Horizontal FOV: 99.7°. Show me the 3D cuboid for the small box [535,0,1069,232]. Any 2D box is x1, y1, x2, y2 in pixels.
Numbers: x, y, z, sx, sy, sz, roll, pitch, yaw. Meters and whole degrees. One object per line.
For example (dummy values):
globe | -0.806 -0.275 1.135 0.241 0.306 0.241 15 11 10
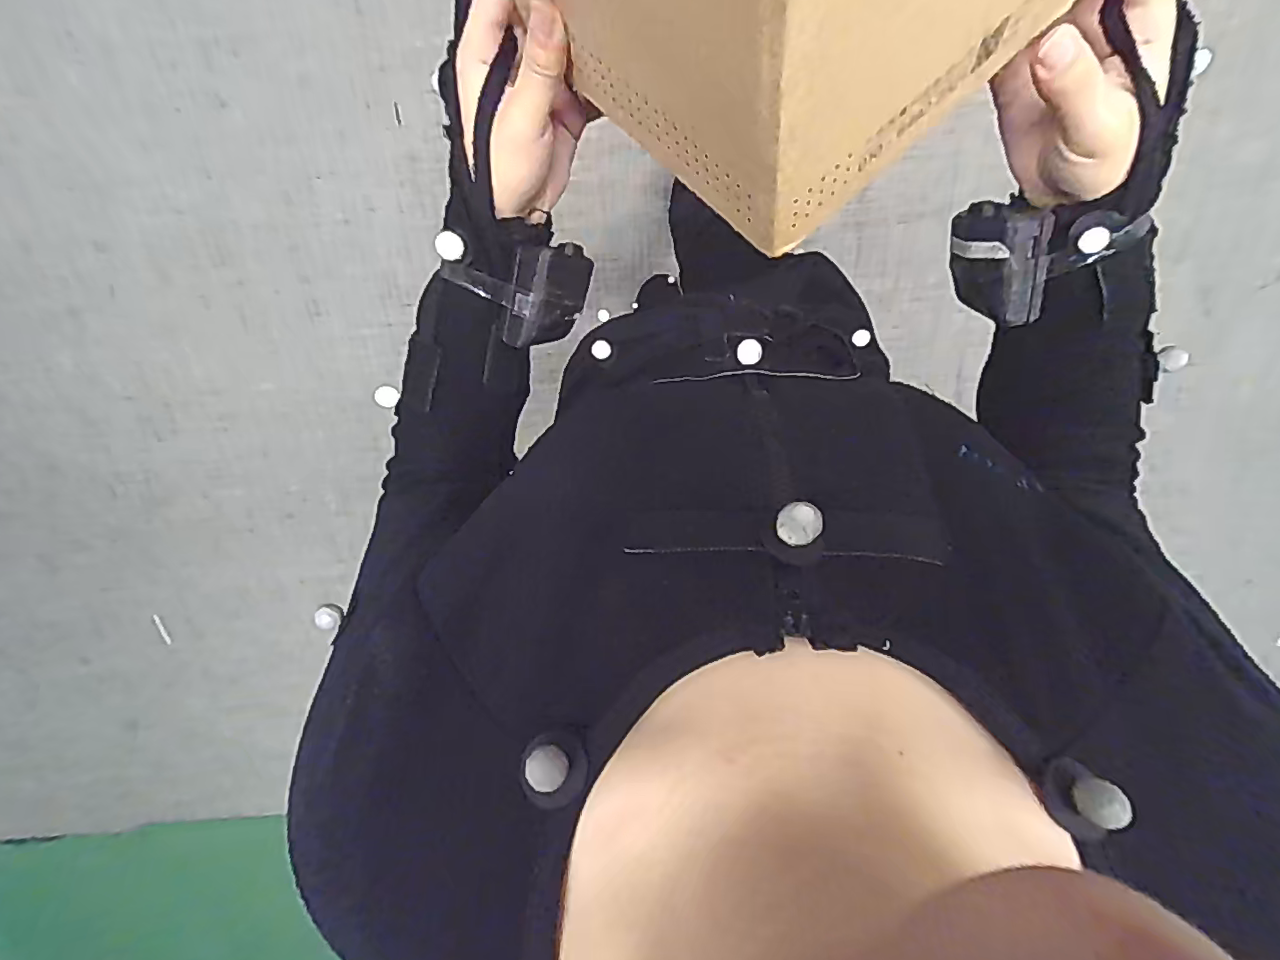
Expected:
small box | 0.050 -0.224 0.174 0.168 0.176 0.179 -42 72 2
